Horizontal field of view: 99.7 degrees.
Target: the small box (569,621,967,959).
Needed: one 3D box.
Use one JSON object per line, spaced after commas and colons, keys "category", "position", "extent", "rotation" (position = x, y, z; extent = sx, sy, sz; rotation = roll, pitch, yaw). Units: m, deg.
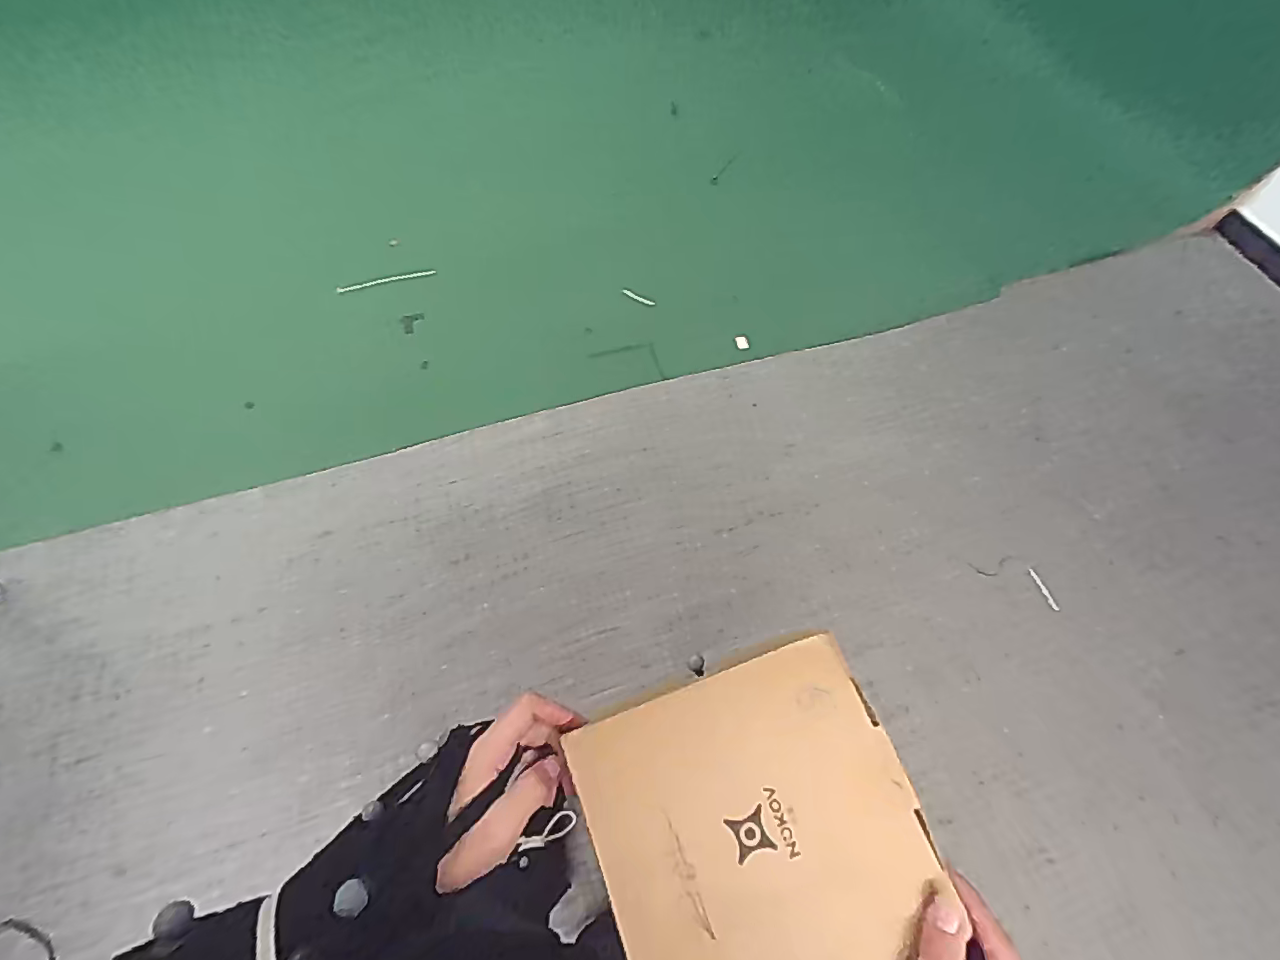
{"category": "small box", "position": [0.067, 0.211, 0.376], "extent": [0.179, 0.176, 0.168], "rotation": [-21, 71, -5]}
